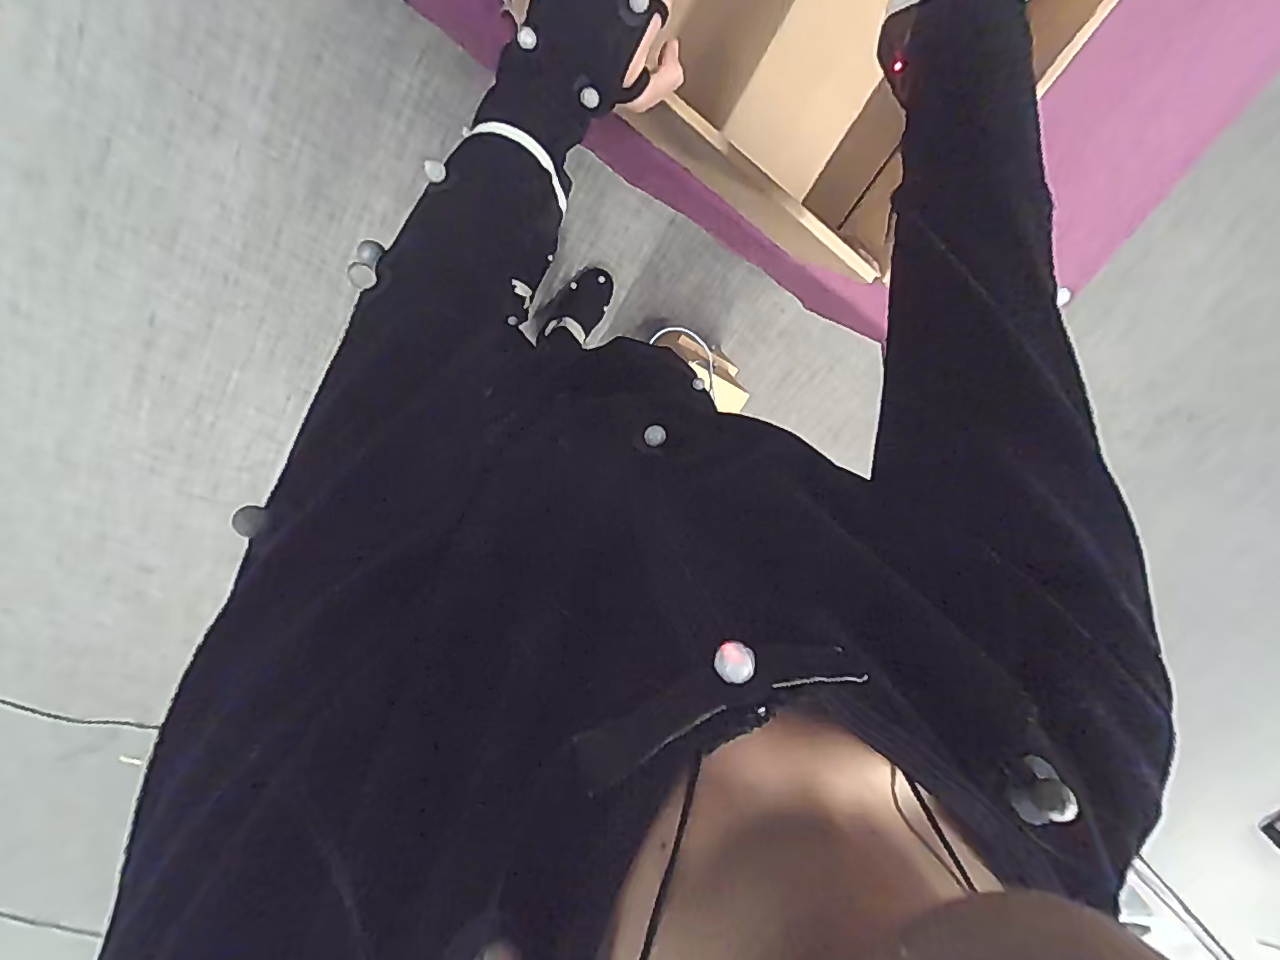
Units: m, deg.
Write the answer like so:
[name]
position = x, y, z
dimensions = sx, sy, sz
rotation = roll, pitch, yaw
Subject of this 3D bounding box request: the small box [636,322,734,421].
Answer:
[small box]
position = 0.108, -0.285, 1.391
dimensions = 0.179, 0.176, 0.168
rotation = 26, 112, -21
